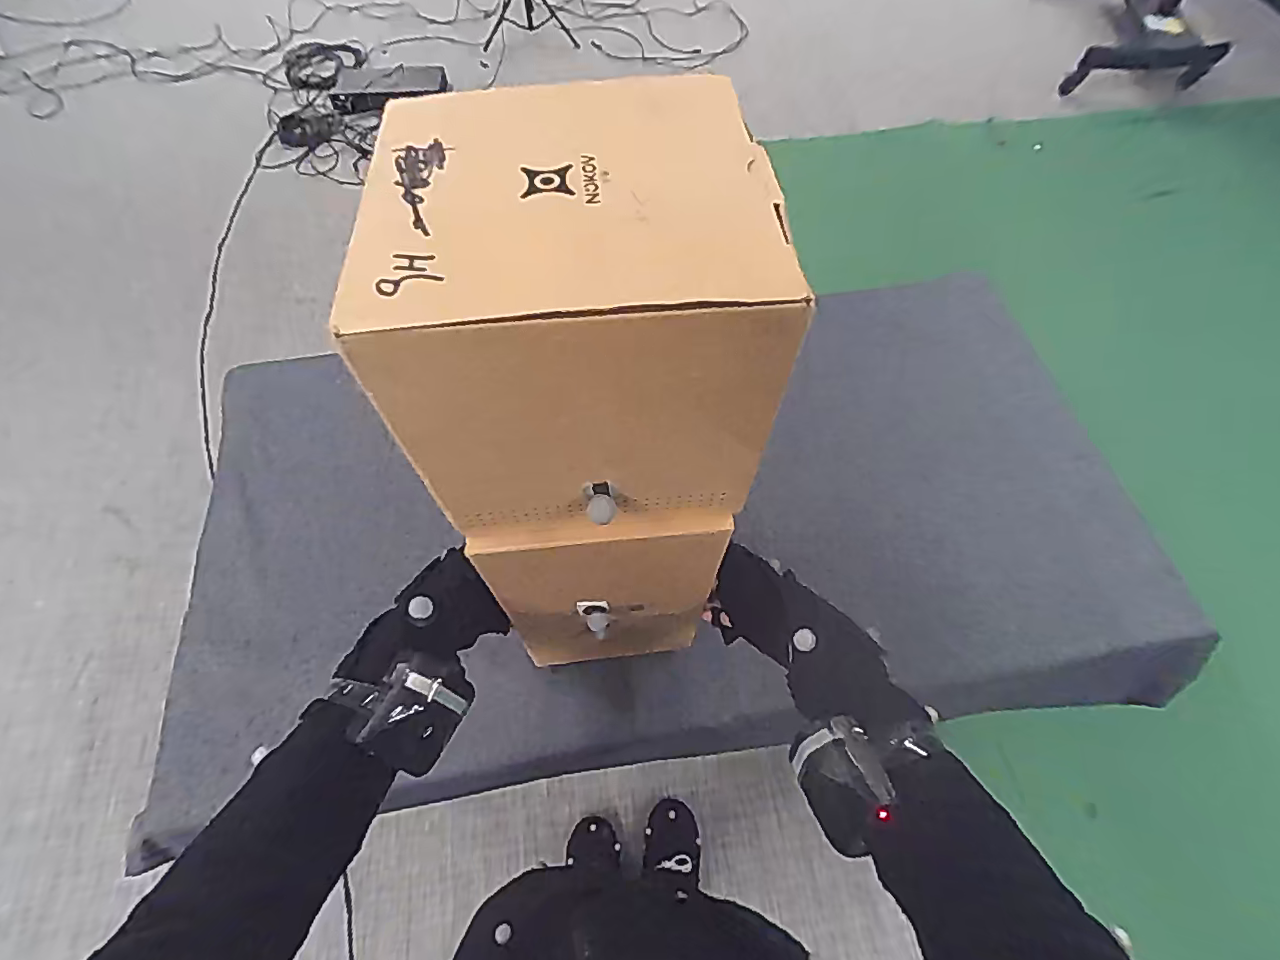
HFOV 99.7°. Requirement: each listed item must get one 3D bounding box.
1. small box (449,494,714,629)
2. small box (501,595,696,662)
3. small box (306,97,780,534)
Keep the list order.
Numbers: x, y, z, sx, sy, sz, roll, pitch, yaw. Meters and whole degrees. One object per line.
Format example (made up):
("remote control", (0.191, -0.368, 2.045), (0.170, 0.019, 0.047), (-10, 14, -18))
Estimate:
("small box", (-0.041, 0.008, 0.441), (0.168, 0.176, 0.179), (-4, 59, -2))
("small box", (-0.043, 0.089, 0.582), (0.179, 0.176, 0.168), (-4, 59, -4))
("small box", (-0.040, -0.081, 0.305), (0.179, 0.176, 0.168), (-4, 59, -3))
